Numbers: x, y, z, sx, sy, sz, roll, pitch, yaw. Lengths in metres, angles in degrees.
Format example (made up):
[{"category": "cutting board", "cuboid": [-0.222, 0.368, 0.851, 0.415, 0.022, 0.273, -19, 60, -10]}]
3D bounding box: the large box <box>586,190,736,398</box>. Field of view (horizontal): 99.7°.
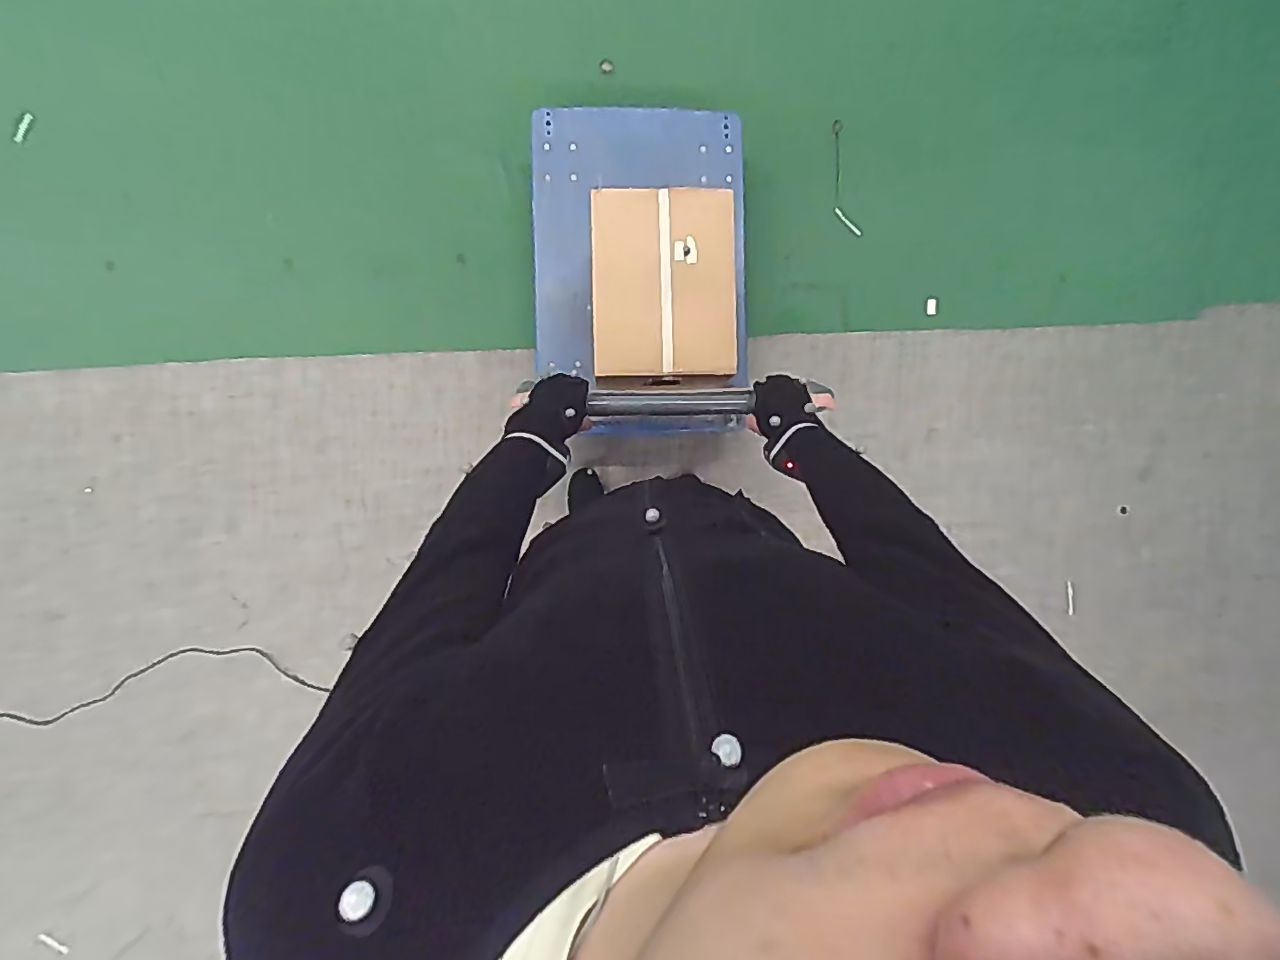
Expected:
[{"category": "large box", "cuboid": [0.038, -0.425, 1.315, 0.320, 0.320, 0.408, -2, 90, -4]}]
